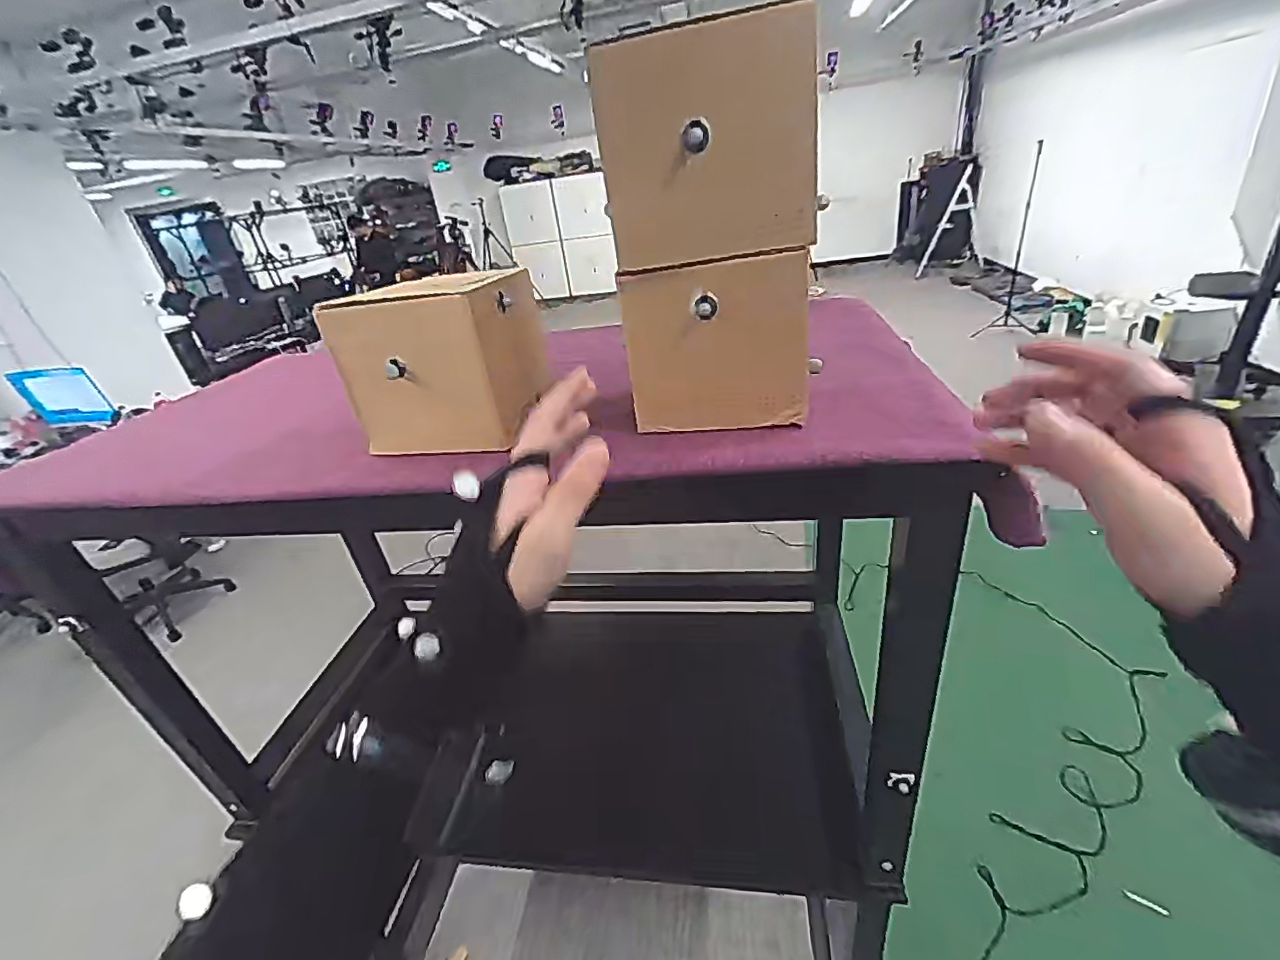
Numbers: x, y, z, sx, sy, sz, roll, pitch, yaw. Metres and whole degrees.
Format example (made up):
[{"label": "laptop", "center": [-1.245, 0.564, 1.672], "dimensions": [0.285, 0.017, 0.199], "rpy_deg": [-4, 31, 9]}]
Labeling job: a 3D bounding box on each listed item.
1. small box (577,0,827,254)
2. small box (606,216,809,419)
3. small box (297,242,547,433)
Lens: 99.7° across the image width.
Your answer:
[{"label": "small box", "center": [0.060, -0.309, 0.478], "dimensions": [0.179, 0.176, 0.168], "rpy_deg": [-4, 29, 10]}, {"label": "small box", "center": [0.081, -0.168, 0.558], "dimensions": [0.179, 0.176, 0.168], "rpy_deg": [0, 30, 15]}, {"label": "small box", "center": [-0.225, -0.159, 0.608], "dimensions": [0.179, 0.176, 0.168], "rpy_deg": [0, 30, 13]}]
